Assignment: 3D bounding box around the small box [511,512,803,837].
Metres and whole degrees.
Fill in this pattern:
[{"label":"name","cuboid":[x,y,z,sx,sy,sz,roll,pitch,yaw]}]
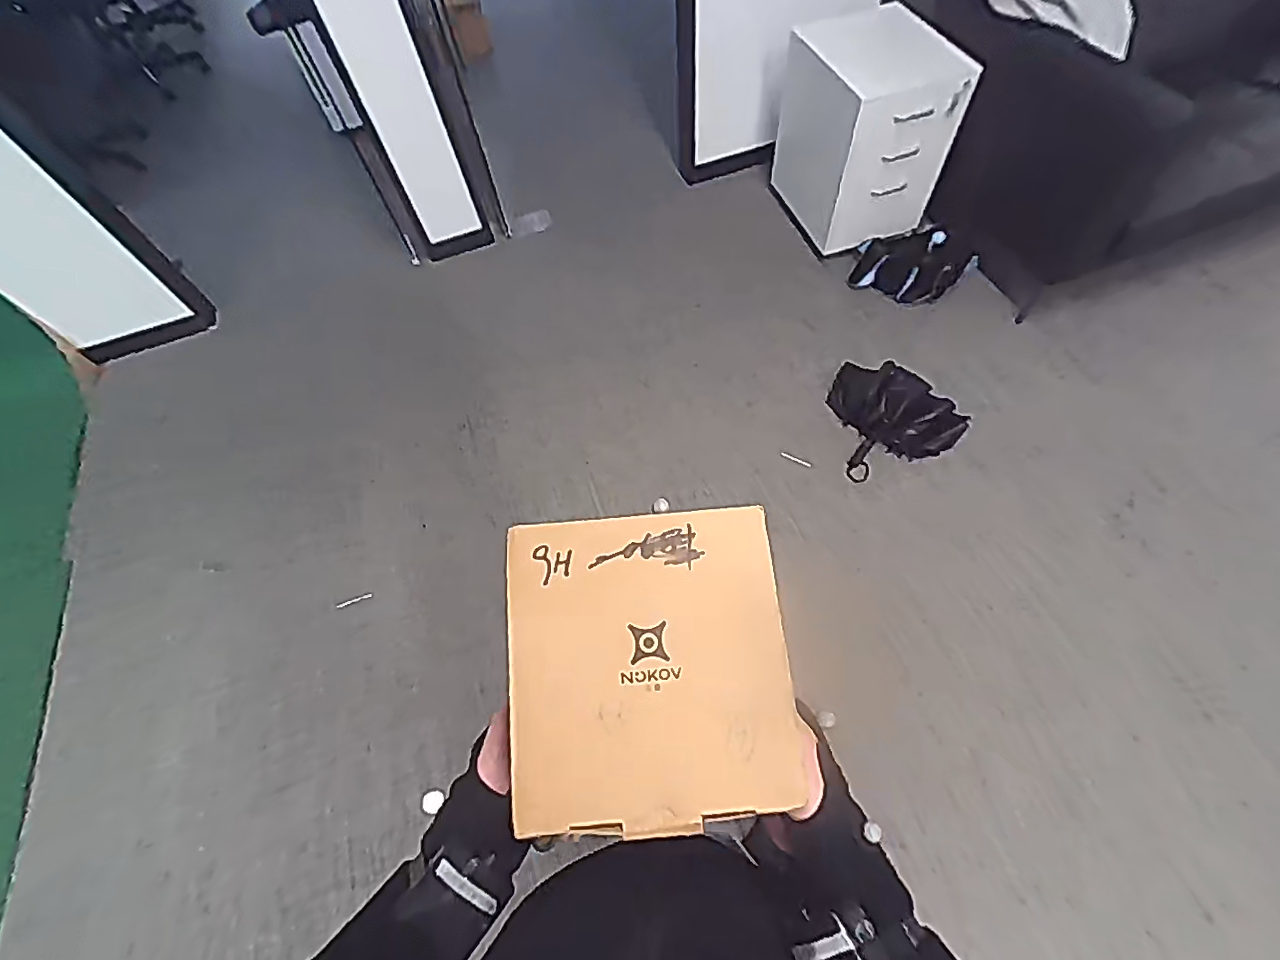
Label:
[{"label":"small box","cuboid":[0.005,0.129,0.400,0.168,0.176,0.179,-4,75,-3]}]
